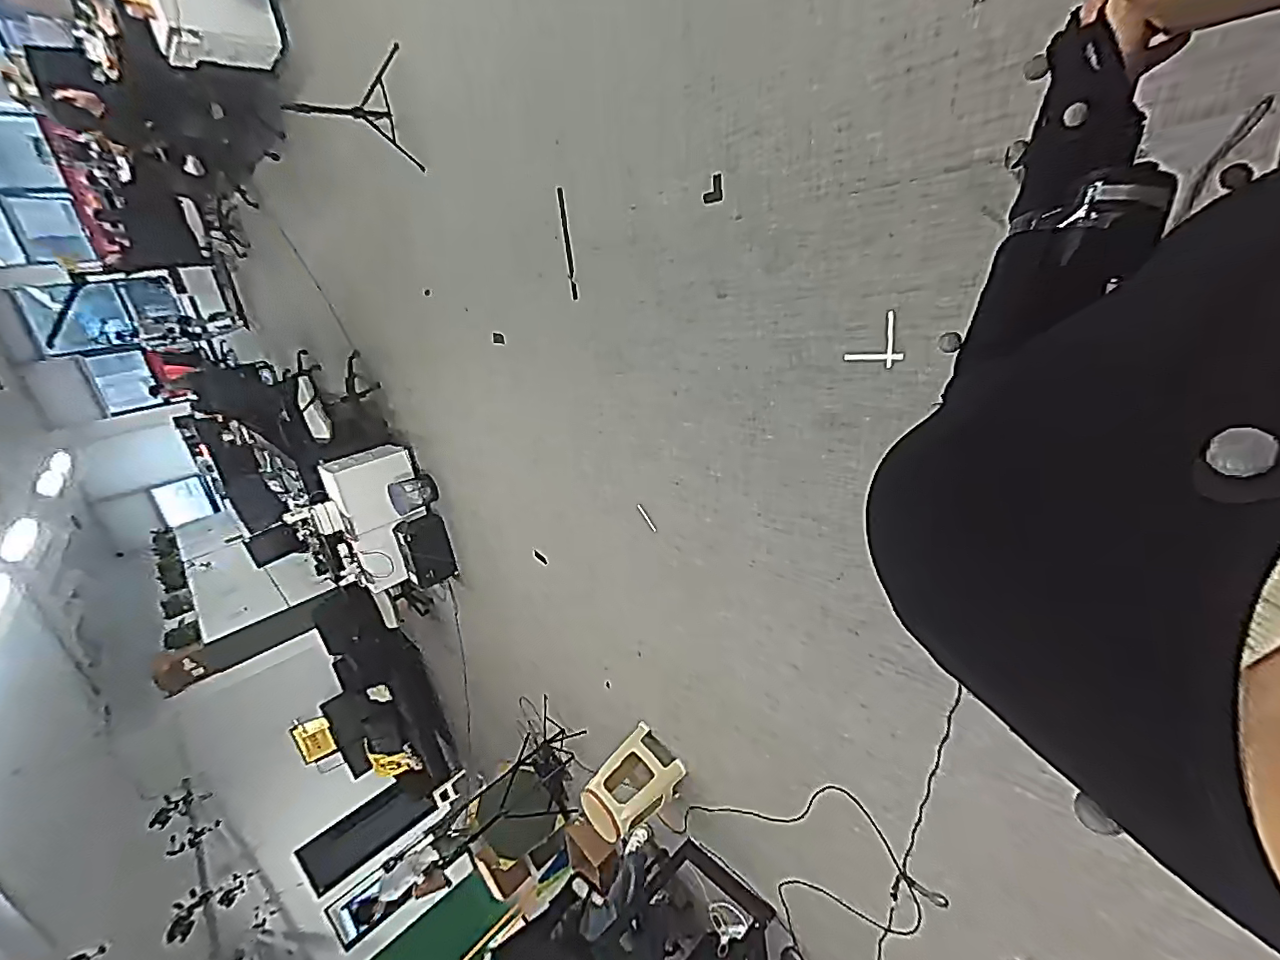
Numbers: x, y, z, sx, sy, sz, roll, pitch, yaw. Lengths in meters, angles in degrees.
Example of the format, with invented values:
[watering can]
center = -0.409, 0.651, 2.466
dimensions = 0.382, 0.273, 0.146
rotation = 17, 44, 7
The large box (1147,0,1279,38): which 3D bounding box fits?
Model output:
[large box]
center = 0.403, -0.364, 0.114
dimensions = 0.408, 0.320, 0.320
rotation = 12, 126, 41
